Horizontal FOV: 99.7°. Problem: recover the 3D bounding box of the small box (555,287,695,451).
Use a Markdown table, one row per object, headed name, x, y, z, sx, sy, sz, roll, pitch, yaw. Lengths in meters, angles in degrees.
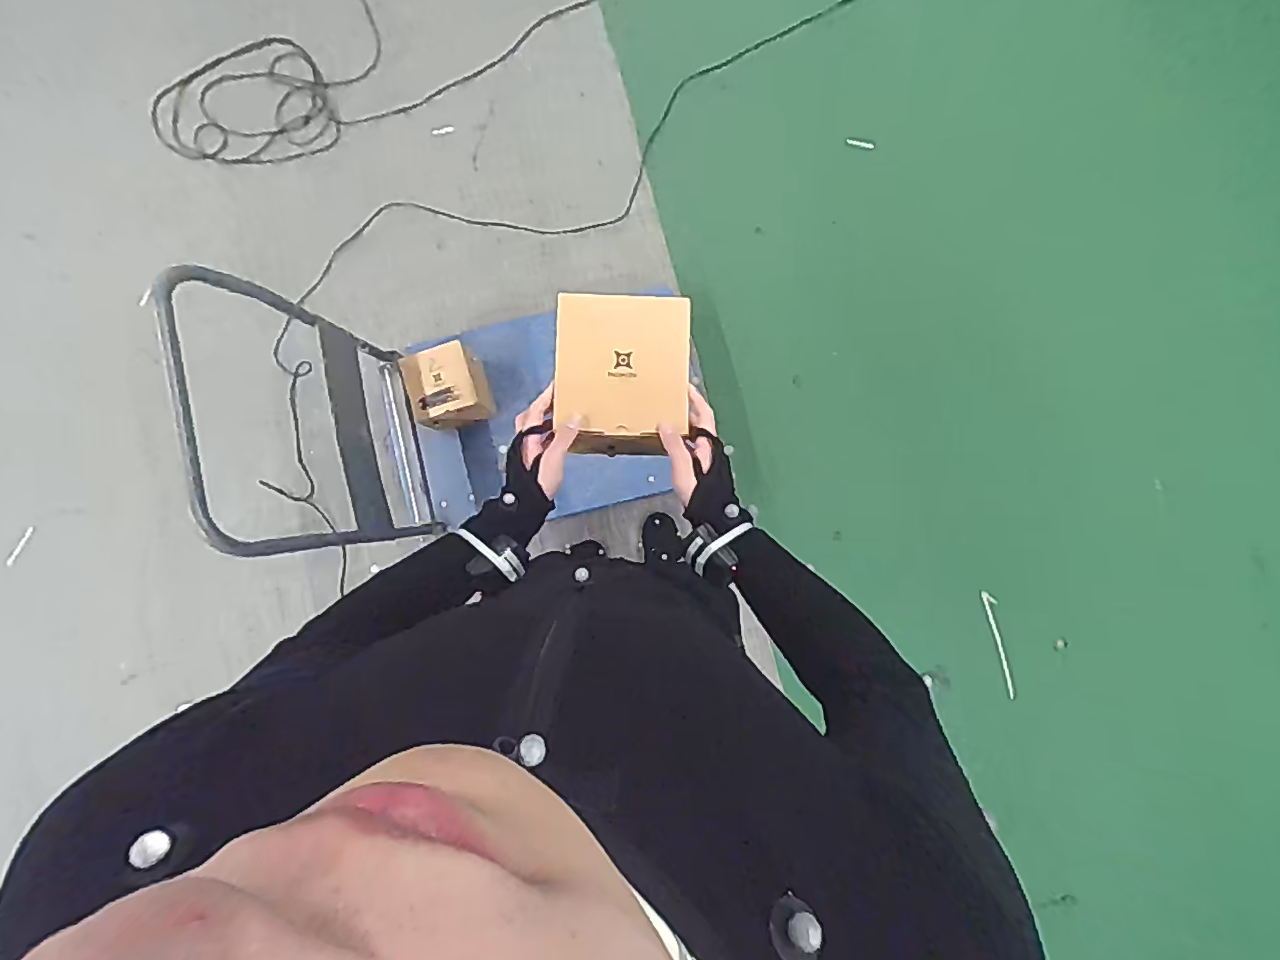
| name | x | y | z | sx | sy | sz | roll | pitch | yaw |
| --- | --- | --- | --- | --- | --- | --- | --- | --- | --- |
| small box | -0.022 | -0.139 | 0.734 | 0.168 | 0.176 | 0.179 | 2 | 86 | -3 |
